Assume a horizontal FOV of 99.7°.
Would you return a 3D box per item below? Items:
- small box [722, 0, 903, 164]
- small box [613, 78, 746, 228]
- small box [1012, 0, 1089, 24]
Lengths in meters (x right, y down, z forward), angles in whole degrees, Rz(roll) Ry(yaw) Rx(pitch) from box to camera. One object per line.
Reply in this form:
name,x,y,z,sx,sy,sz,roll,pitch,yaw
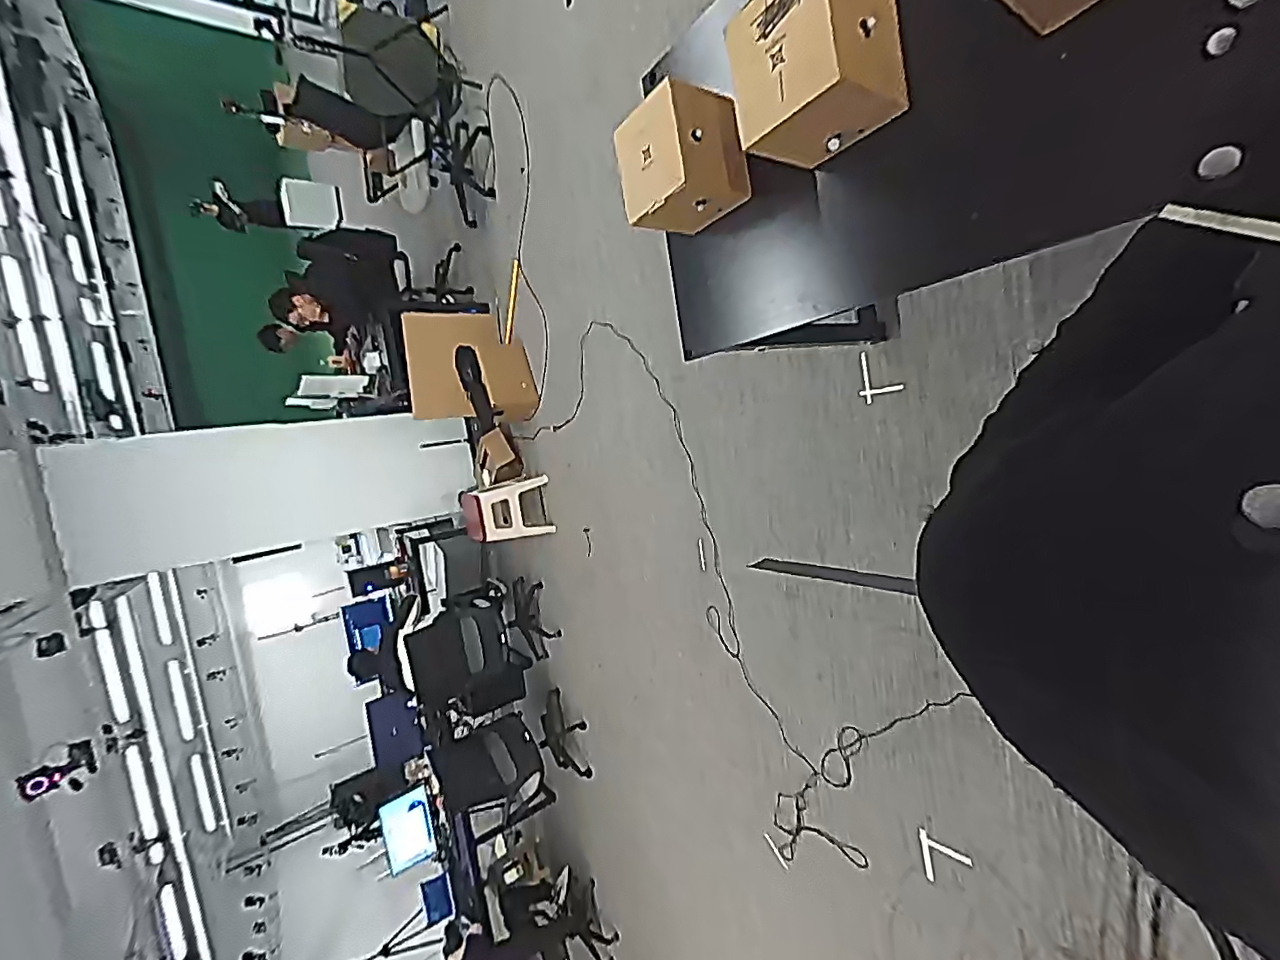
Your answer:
small box,0.243,-0.583,0.762,0.168,0.176,0.179,-4,97,55
small box,0.075,-0.582,0.996,0.168,0.176,0.179,-6,94,53
small box,0.429,-0.587,0.504,0.179,0.176,0.168,-11,91,56
